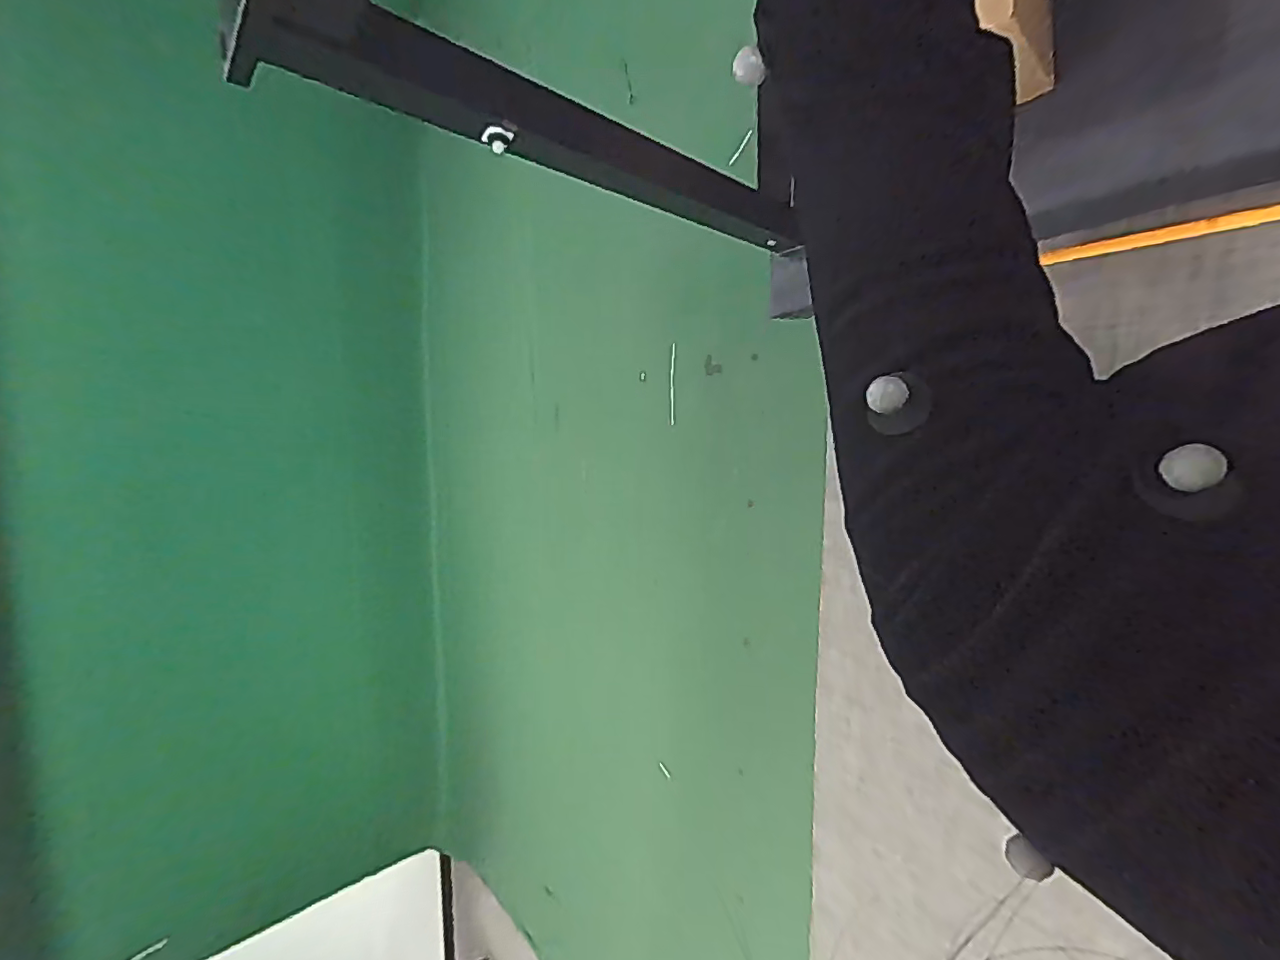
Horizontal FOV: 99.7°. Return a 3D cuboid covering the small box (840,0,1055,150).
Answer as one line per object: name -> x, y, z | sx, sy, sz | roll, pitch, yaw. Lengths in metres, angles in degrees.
small box -> 0.359, -0.529, 0.636 | 0.179, 0.176, 0.168 | -2, 92, 48
